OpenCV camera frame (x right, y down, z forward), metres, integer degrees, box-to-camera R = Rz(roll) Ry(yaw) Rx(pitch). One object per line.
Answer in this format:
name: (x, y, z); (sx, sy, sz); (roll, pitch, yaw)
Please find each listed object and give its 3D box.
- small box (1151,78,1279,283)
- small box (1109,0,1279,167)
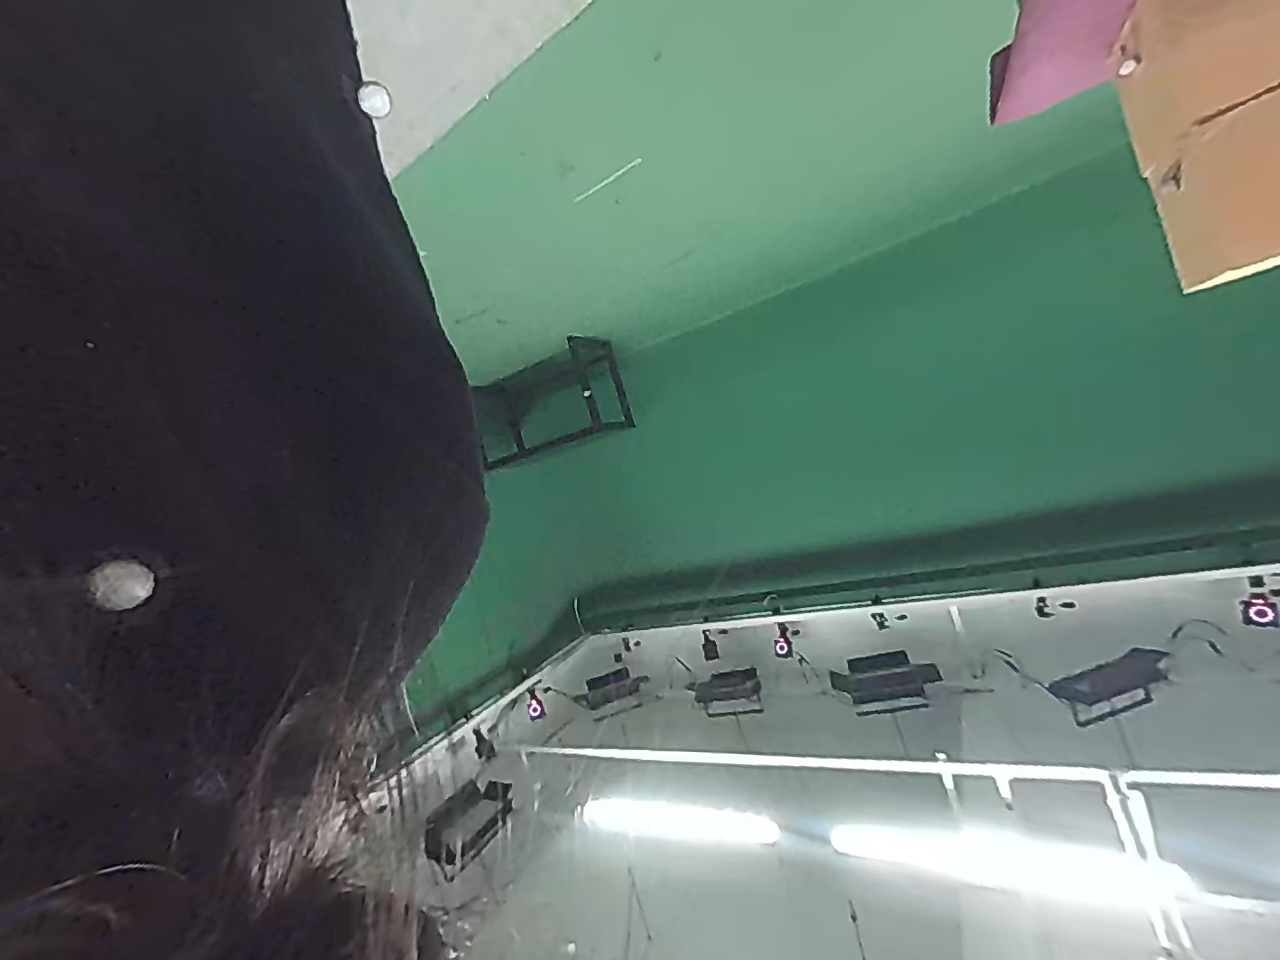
small box: (0.725, -0.347, 0.600); (0.179, 0.176, 0.168); (-17, 179, 33)
small box: (0.678, -0.503, 0.606); (0.179, 0.176, 0.168); (-17, 180, 30)
